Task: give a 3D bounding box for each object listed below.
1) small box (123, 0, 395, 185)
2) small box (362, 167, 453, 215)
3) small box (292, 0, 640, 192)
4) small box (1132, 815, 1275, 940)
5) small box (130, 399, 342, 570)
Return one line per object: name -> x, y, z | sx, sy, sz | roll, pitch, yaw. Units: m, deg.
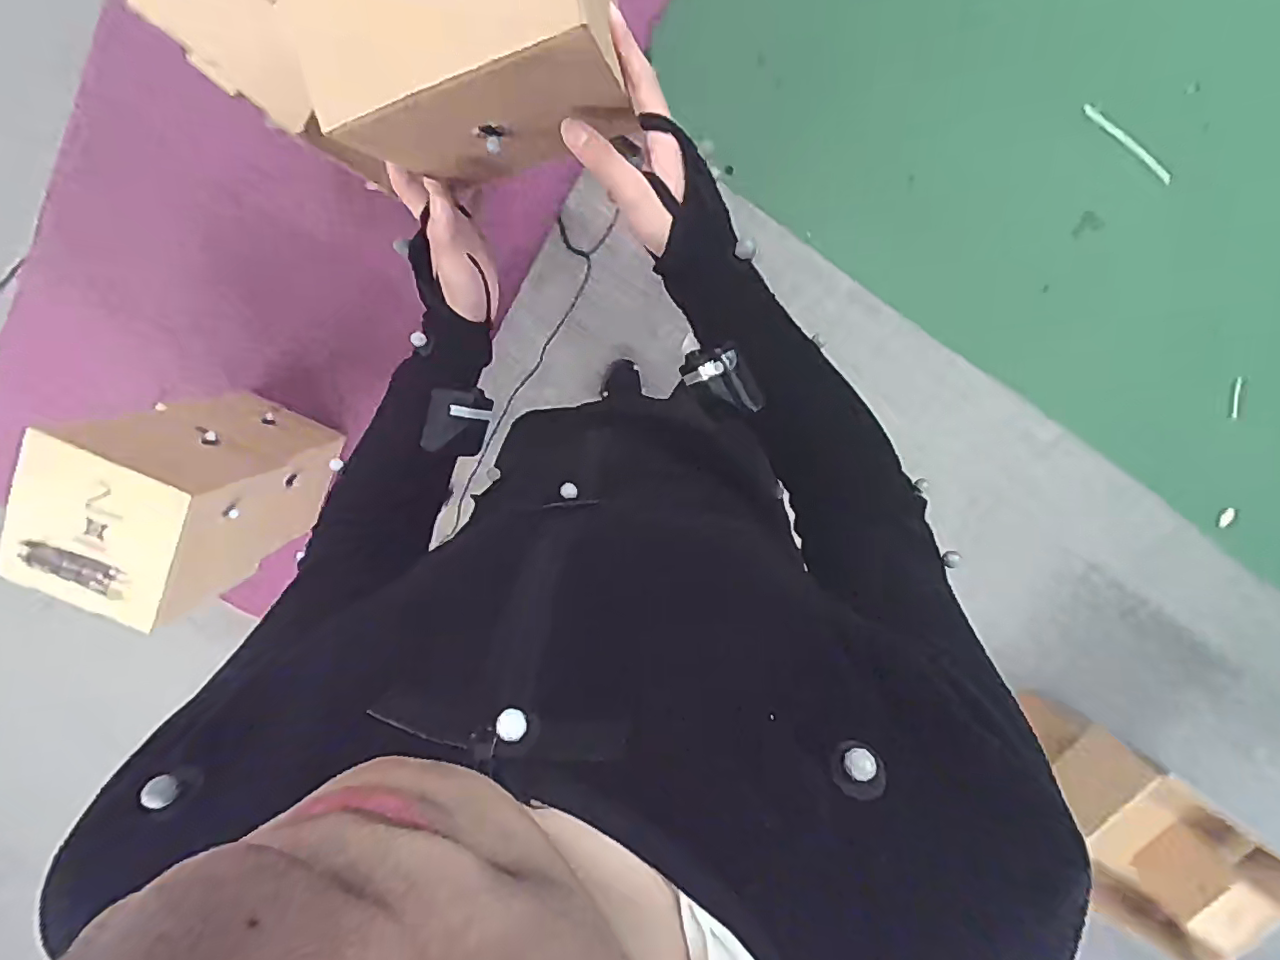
small box -> -0.306, -0.421, 0.513 | 0.168, 0.176, 0.179 | 39, 101, -9
small box -> -0.306, -0.466, 0.672 | 0.168, 0.176, 0.179 | 41, 101, -10
small box -> -0.104, -0.318, 0.365 | 0.179, 0.176, 0.168 | -10, 104, 14
small box -> 1.463, 1.041, 1.424 | 0.168, 0.176, 0.179 | 33, 102, -9
small box -> -0.572, -0.004, 0.791 | 0.168, 0.176, 0.179 | 26, 103, -7
